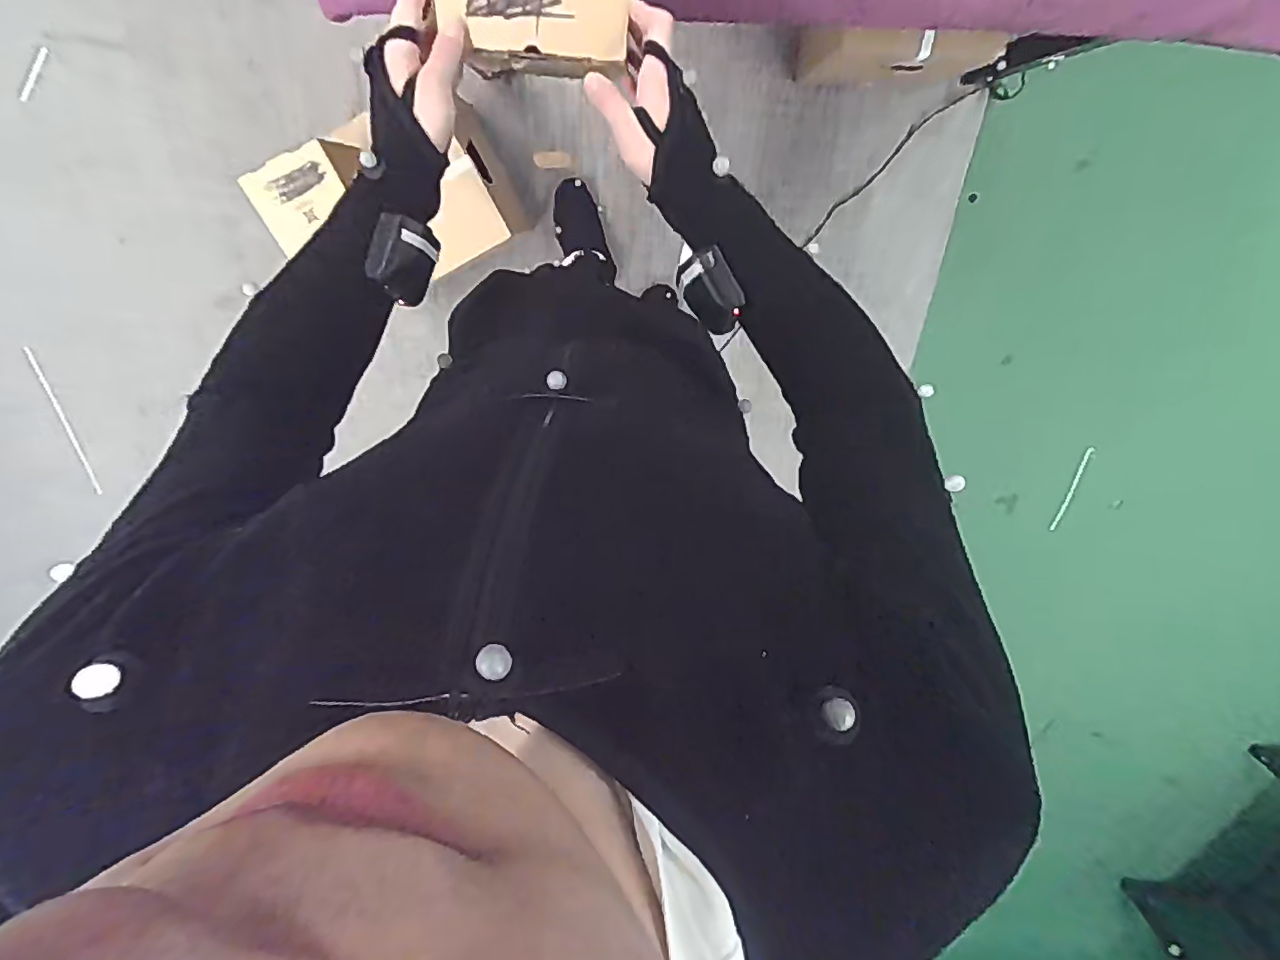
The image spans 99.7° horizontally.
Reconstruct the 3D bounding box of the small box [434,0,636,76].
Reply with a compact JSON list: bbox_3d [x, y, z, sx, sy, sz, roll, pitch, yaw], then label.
[{"bbox_3d":[-0.085,-0.485,0.489,0.168,0.176,0.179,3,121,-3],"label":"small box"}]

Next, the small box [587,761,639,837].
[{"bbox_3d":[-0.096,1.191,2.023,0.168,0.176,0.179,11,116,-4],"label":"small box"}]

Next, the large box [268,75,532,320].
[{"bbox_3d":[-0.513,-0.623,1.241,0.408,0.320,0.320,-25,116,10],"label":"large box"}]
